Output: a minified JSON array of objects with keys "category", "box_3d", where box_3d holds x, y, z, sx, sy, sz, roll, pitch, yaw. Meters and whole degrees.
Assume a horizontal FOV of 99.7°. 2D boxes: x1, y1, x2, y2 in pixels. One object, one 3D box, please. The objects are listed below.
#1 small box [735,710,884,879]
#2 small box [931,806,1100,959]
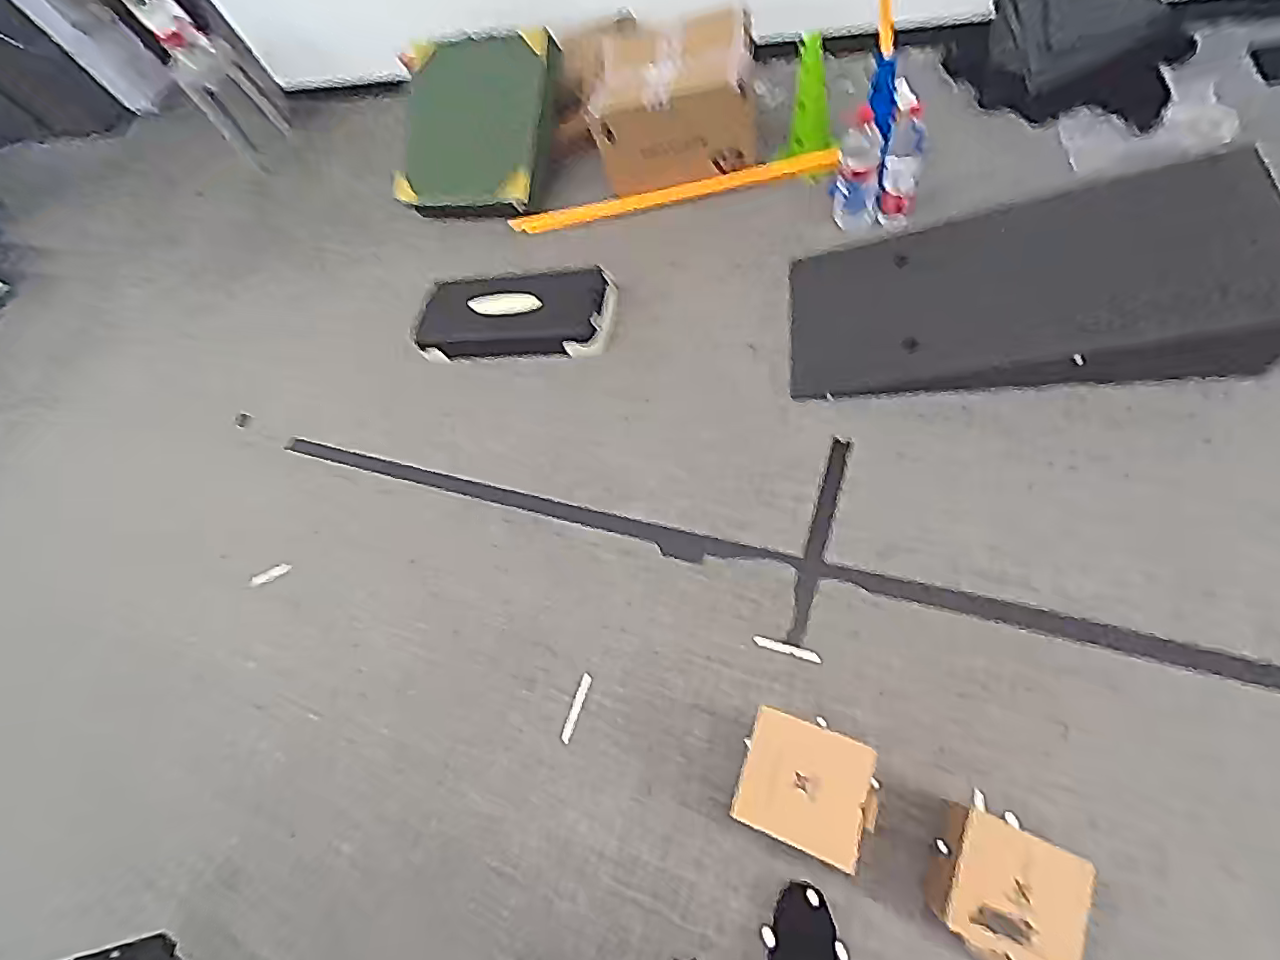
[{"category":"small box","box_3d":[0.265,0.479,0.851,0.179,0.176,0.168,14,69,23]},{"category":"small box","box_3d":[0.583,0.654,0.862,0.168,0.176,0.179,19,71,23]}]
